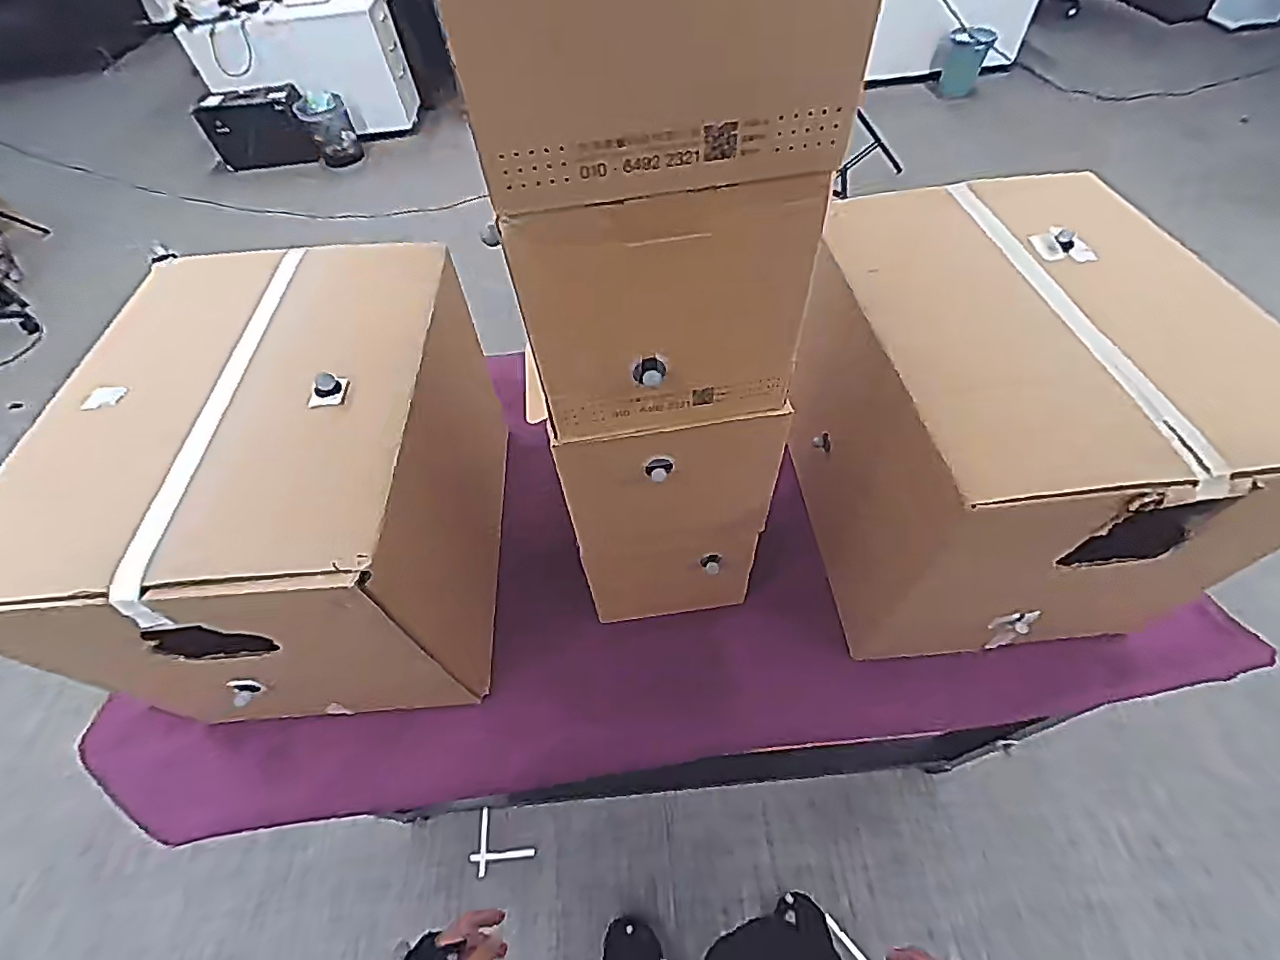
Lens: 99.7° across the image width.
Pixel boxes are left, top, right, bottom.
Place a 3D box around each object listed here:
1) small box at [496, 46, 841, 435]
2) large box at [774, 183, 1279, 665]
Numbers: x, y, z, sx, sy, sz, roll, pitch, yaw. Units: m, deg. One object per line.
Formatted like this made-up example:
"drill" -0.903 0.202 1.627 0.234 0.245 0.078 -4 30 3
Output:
"small box" 0.006 -0.156 0.363 0.168 0.176 0.179 -10 54 -3
"large box" 0.358 -0.061 0.588 0.320 0.320 0.408 -6 52 0
